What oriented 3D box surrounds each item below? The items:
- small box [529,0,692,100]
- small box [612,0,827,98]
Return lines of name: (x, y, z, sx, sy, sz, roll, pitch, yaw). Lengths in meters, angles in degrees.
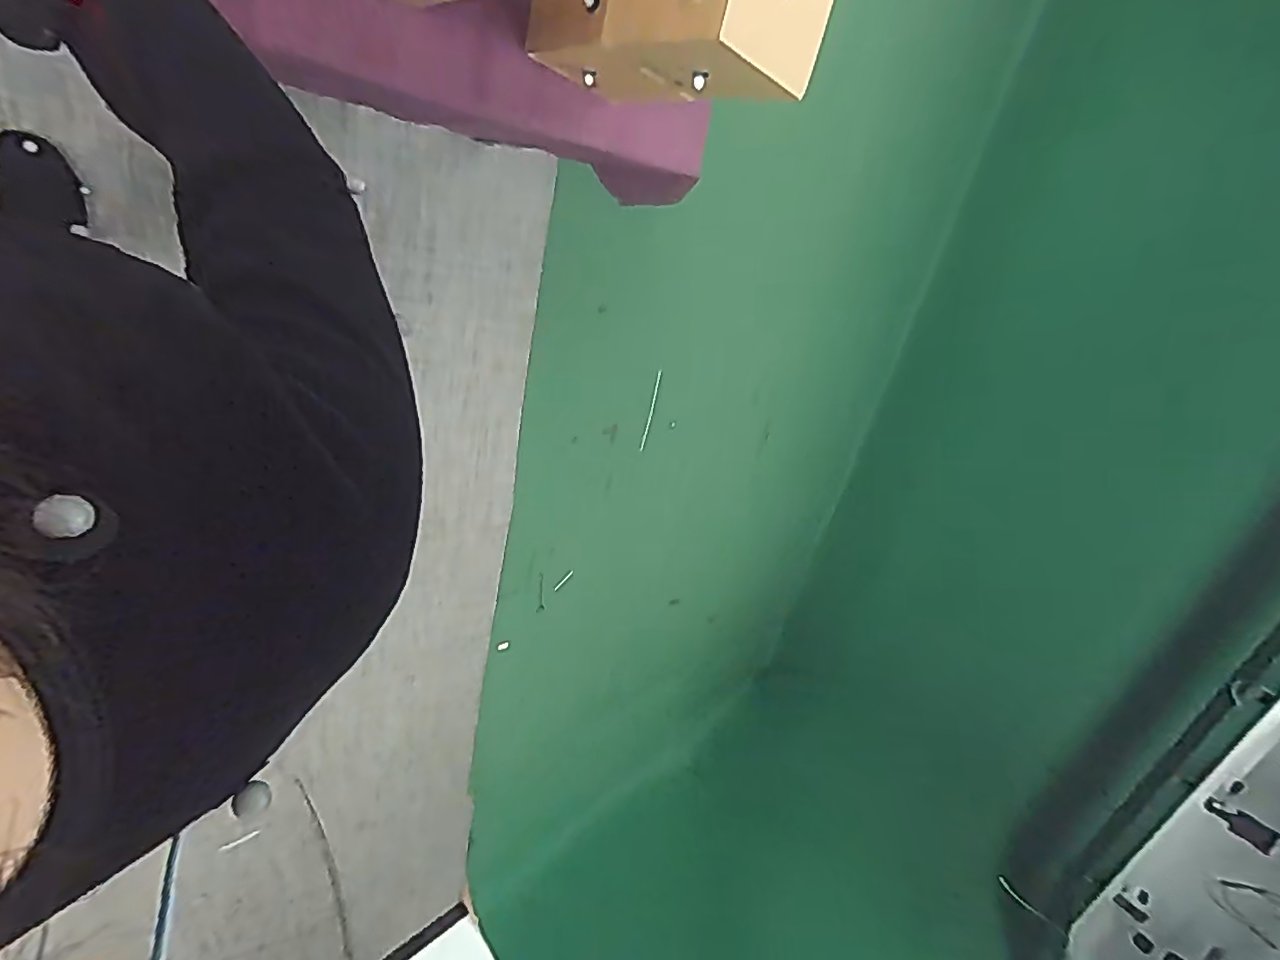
small box: (-0.023, -0.616, 0.689, 0.168, 0.176, 0.179, -8, 121, -45)
small box: (0.090, -0.547, 0.591, 0.168, 0.176, 0.179, -11, 122, -45)
